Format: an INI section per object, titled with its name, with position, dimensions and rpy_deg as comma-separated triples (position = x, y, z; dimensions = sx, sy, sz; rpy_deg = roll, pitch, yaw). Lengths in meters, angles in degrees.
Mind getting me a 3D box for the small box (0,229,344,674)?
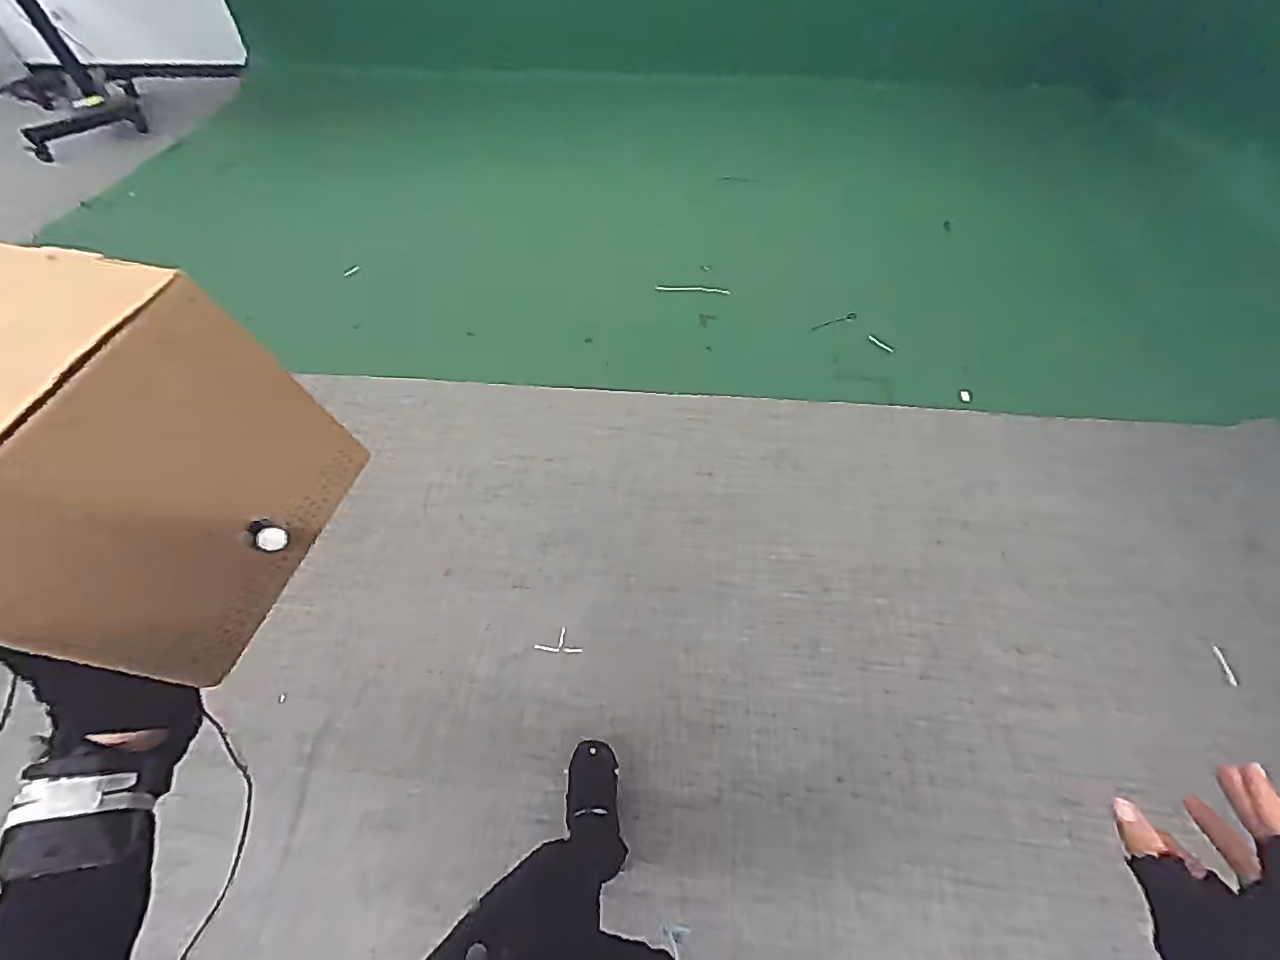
[small box]
position = -0.311, -0.011, 0.309
dimensions = 0.168, 0.176, 0.179
rpy_deg = 12, 63, 15
